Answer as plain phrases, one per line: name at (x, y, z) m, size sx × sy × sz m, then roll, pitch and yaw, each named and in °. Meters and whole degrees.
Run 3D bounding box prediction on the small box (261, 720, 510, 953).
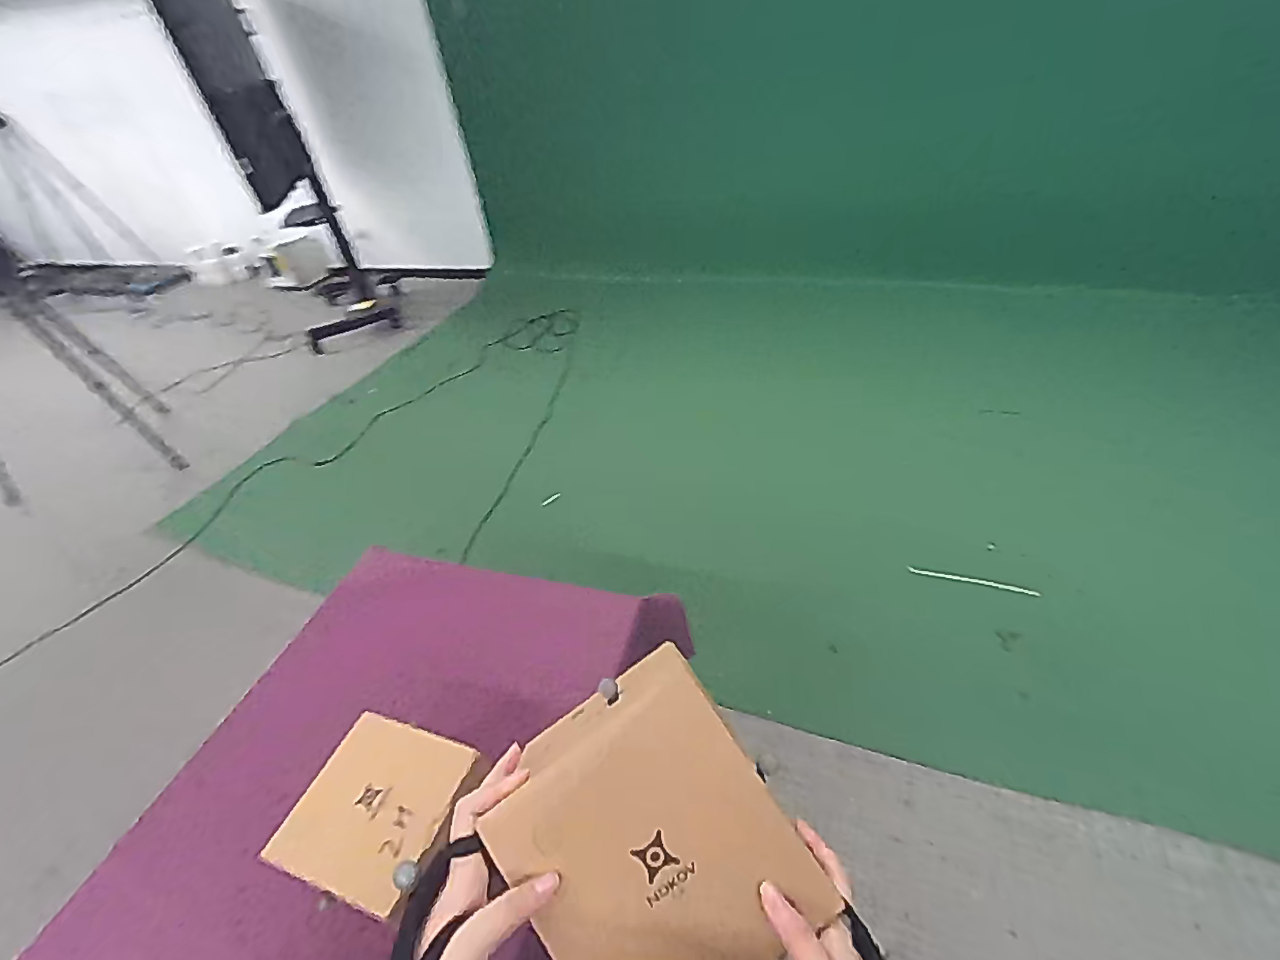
small box at (-0.286, 0.424, 0.647) m, size 0.179 × 0.176 × 0.168 m, roll 8°, pitch 43°, yaw 19°
